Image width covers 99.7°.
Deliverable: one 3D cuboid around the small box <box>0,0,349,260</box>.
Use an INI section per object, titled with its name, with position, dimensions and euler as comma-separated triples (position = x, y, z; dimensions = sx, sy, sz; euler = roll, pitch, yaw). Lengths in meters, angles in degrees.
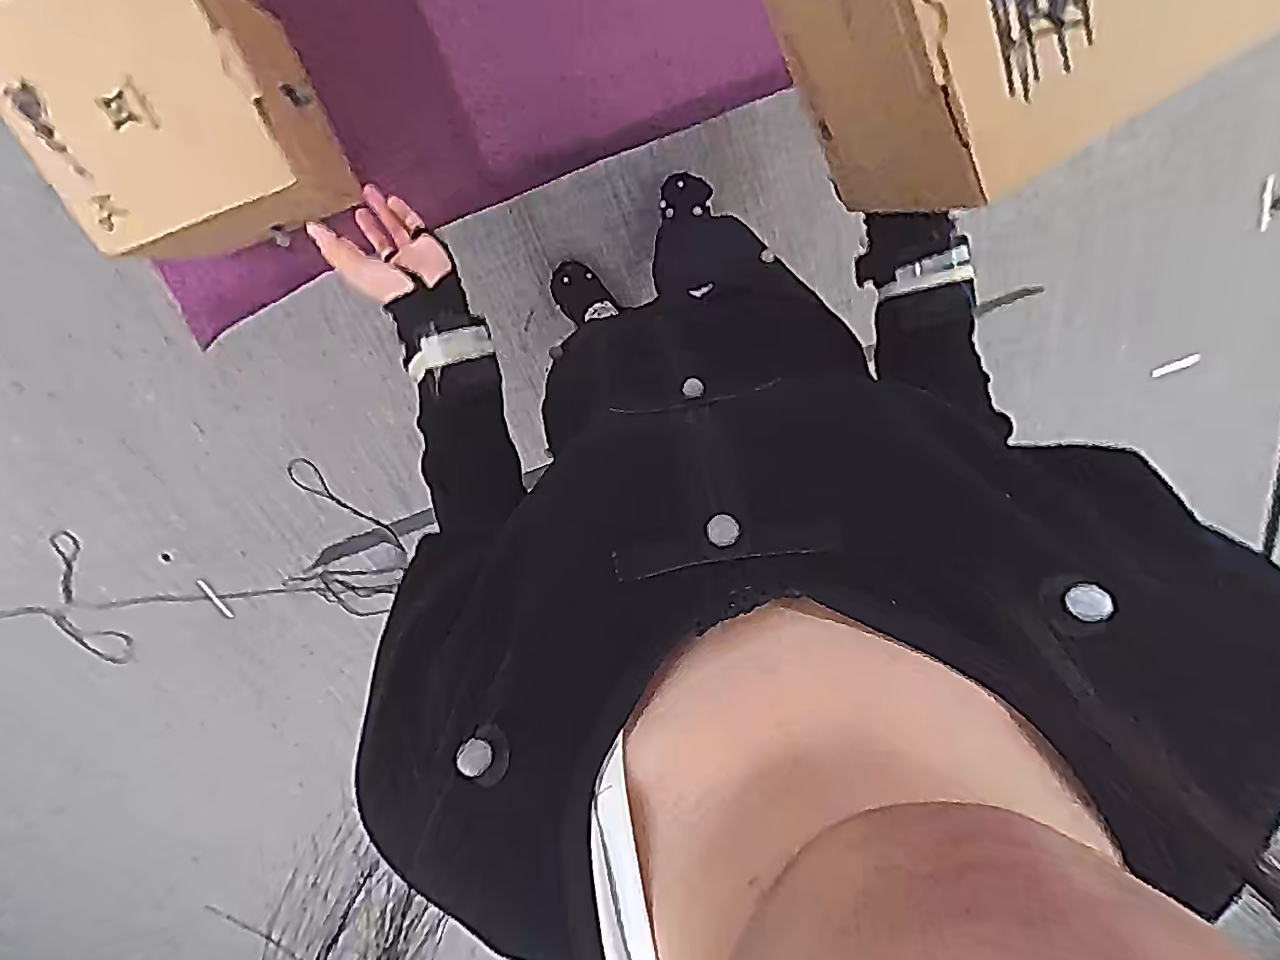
[small box]
position = -0.392, -0.311, 0.483
dimensions = 0.179, 0.176, 0.168
euler = -21, 114, 0
